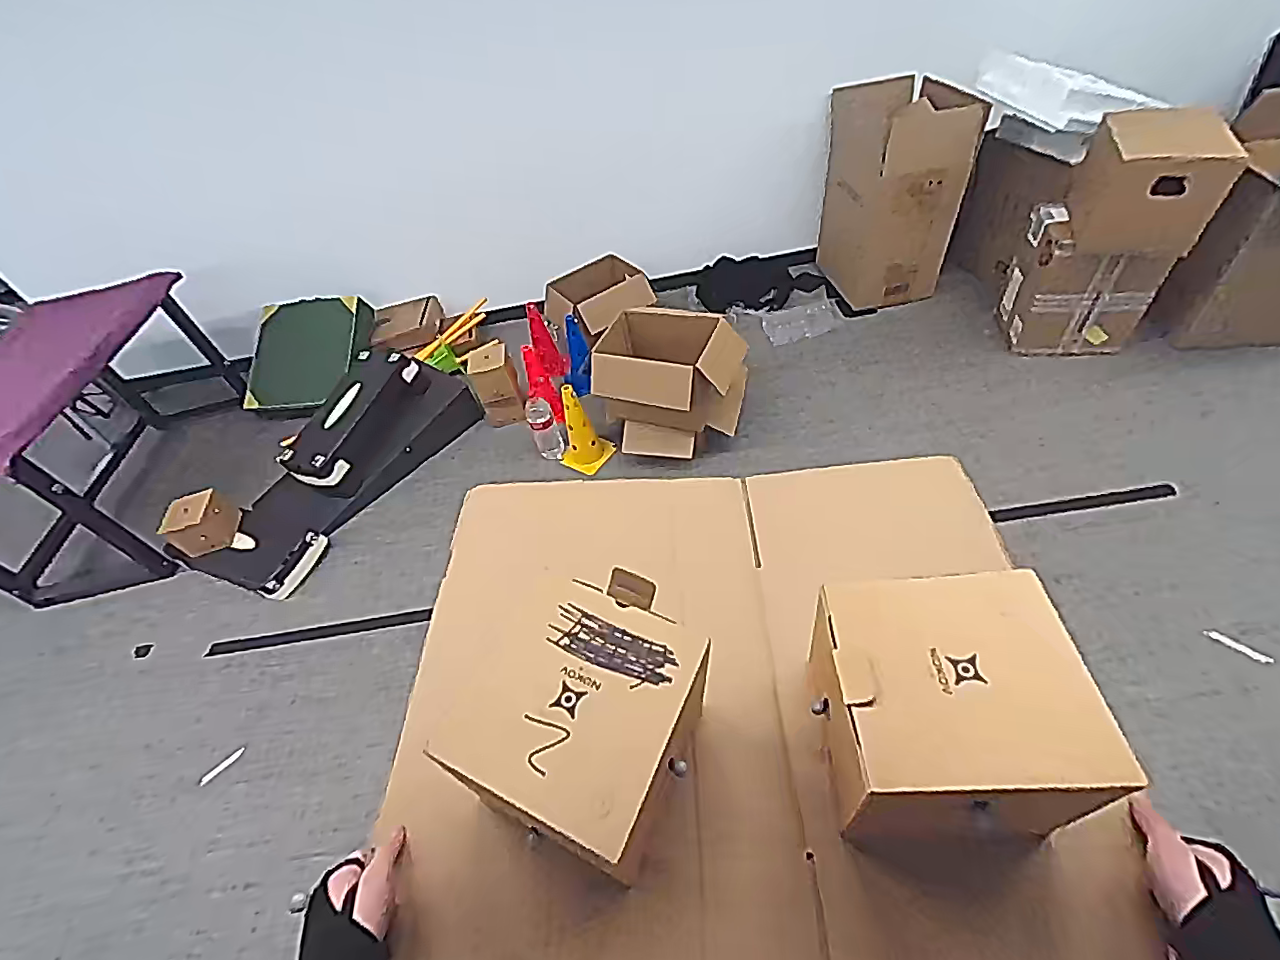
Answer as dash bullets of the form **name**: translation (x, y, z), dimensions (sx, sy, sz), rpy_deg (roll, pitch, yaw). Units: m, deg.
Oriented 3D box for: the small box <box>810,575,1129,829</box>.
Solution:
- **small box**: translation (0.261, 0.203, 0.486), dimensions (0.179, 0.176, 0.168), rpy_deg (-6, 48, 8)
